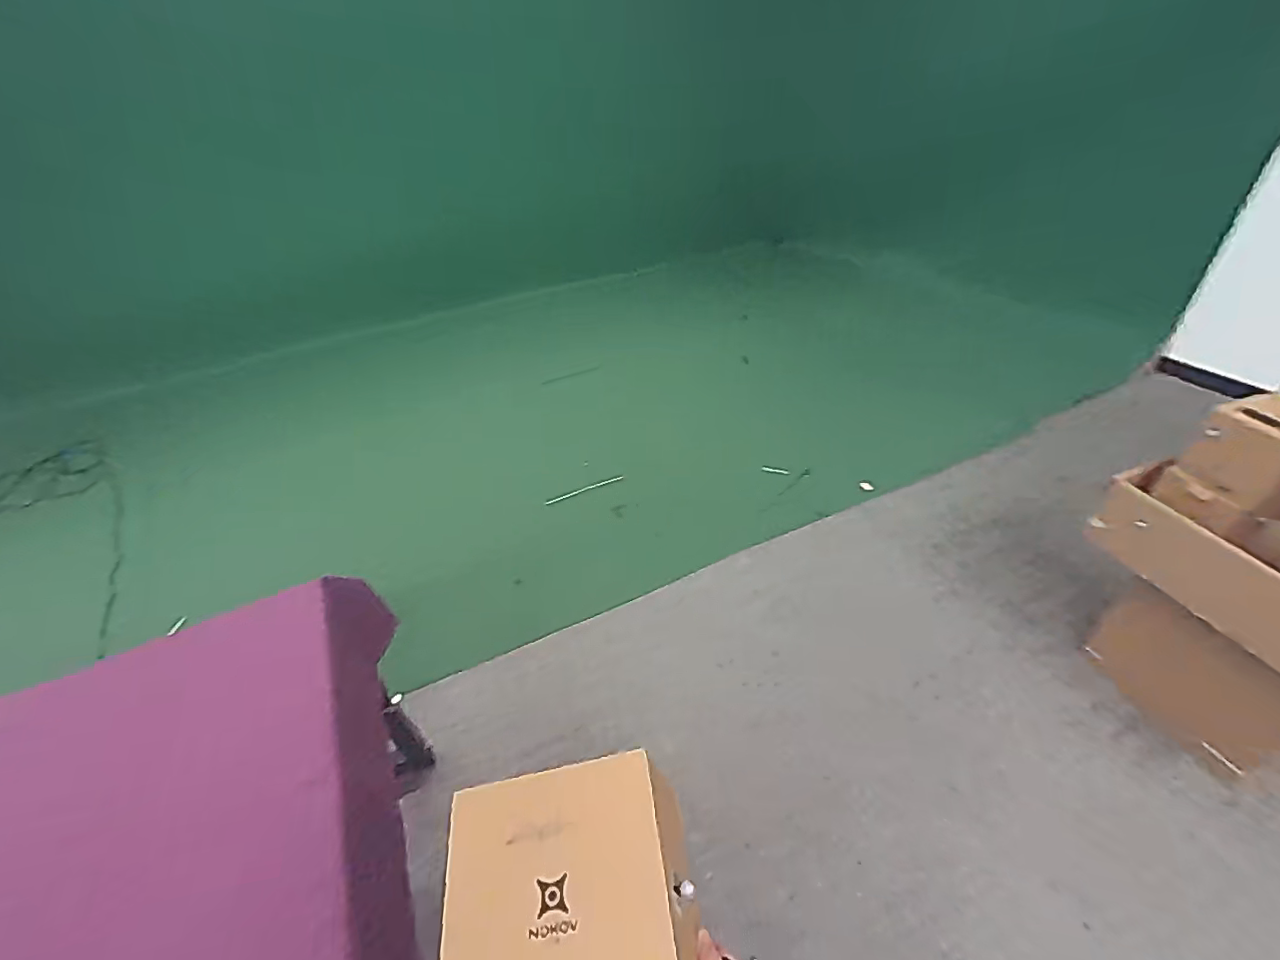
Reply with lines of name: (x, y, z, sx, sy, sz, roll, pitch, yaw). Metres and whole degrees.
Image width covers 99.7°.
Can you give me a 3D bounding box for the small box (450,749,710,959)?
small box: (-0.039, 0.348, 0.446, 0.168, 0.176, 0.179, -13, 48, 4)
